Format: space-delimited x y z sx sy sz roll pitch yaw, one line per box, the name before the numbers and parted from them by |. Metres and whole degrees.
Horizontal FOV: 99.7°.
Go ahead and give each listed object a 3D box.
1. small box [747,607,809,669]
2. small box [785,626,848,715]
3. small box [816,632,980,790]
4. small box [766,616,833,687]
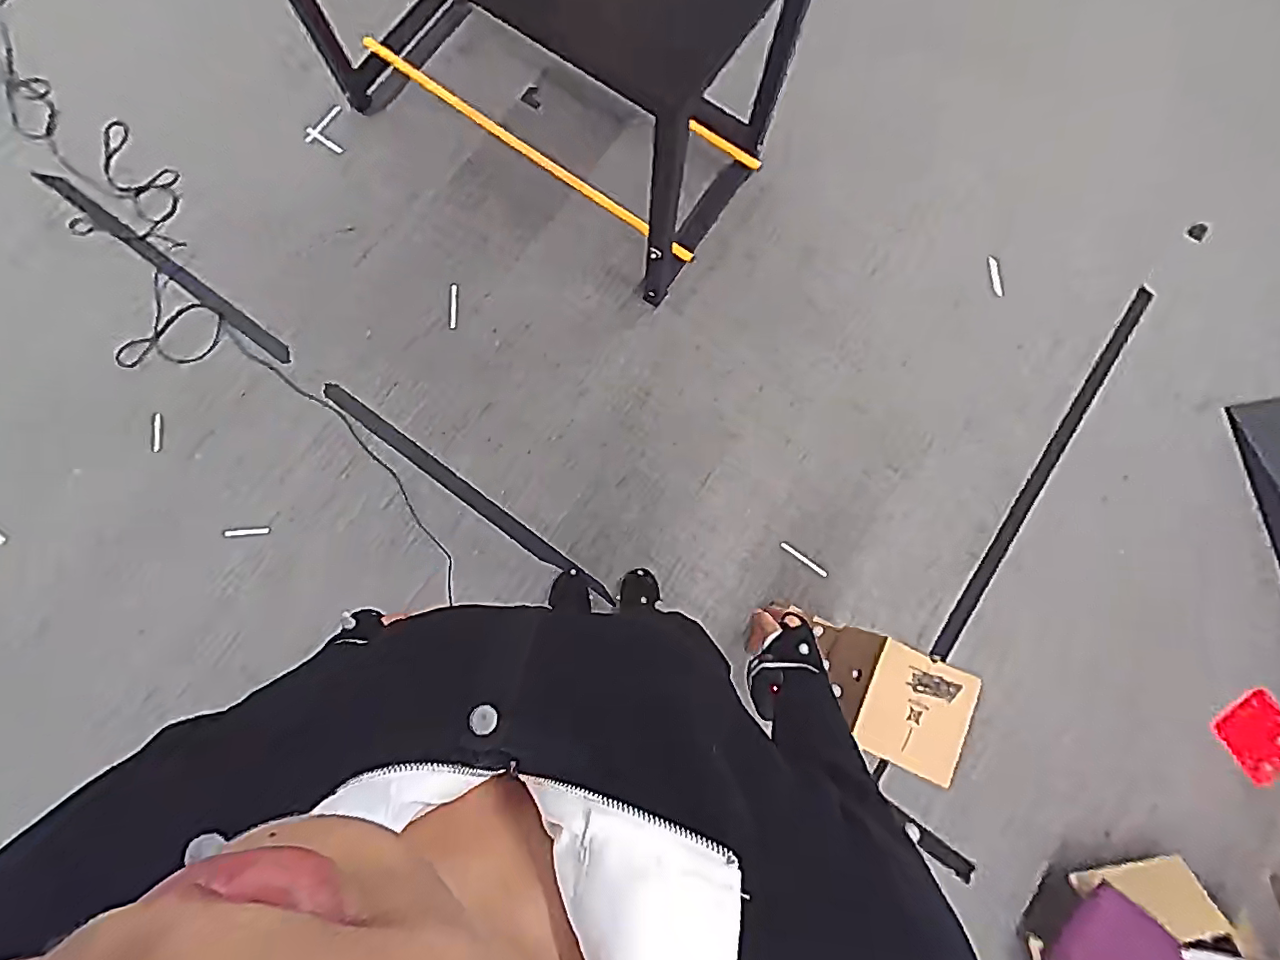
small box | 0.403 0.441 1.404 0.179 0.176 0.168 32 80 5
small box | 0.412 0.403 1.077 0.179 0.176 0.168 25 80 3
small box | 0.423 0.374 0.914 0.168 0.176 0.179 25 80 2
small box | 0.417 0.423 1.240 0.179 0.176 0.168 27 79 3
